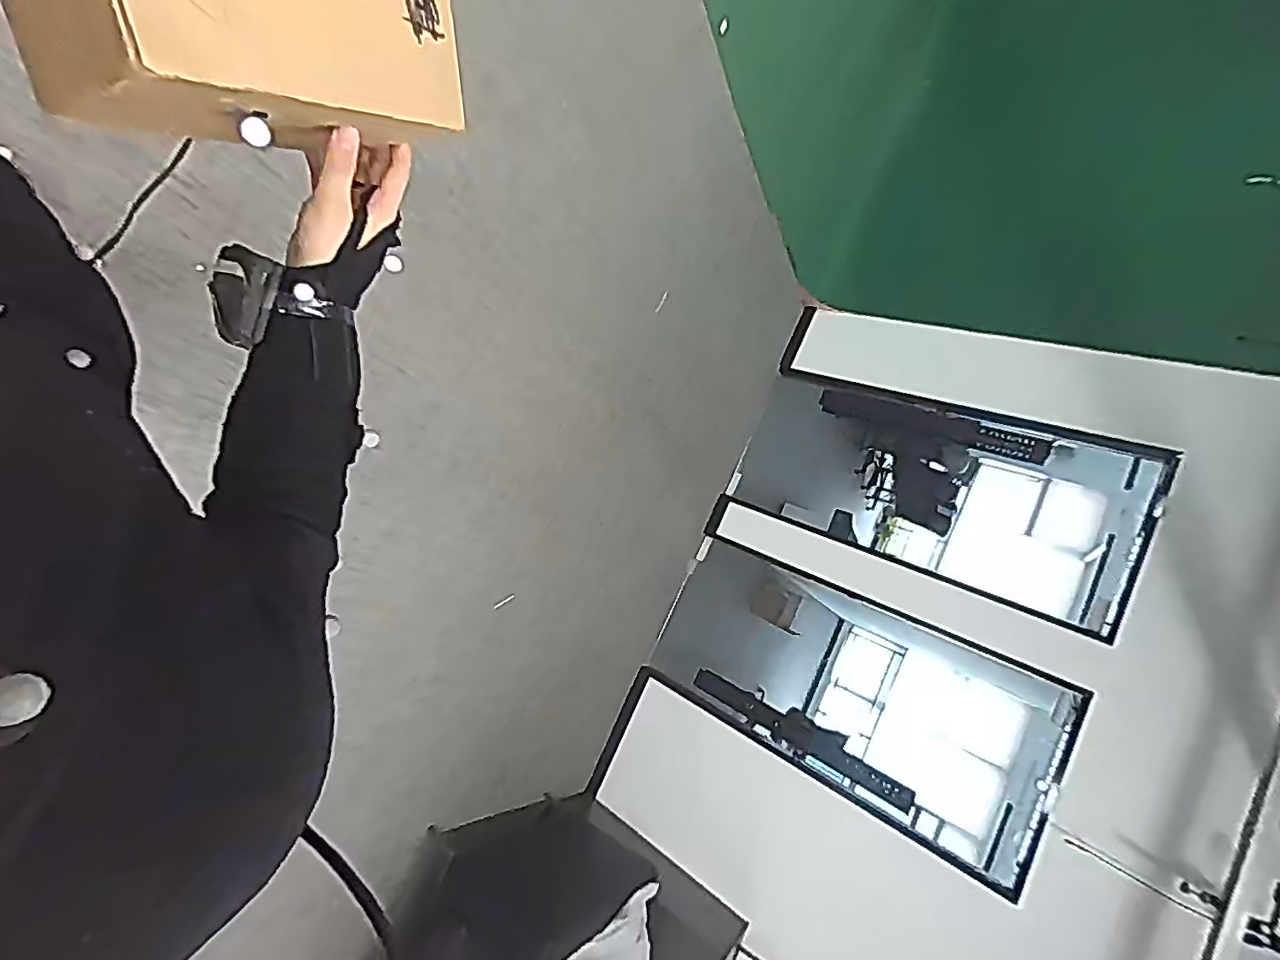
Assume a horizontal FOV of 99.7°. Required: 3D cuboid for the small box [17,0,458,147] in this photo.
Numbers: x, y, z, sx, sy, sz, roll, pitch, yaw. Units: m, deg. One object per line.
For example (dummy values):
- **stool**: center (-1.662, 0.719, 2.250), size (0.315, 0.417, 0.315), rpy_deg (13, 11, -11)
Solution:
- **small box**: center (-0.238, -0.301, 0.311), size (0.179, 0.176, 0.168), rpy_deg (-30, 127, -47)
